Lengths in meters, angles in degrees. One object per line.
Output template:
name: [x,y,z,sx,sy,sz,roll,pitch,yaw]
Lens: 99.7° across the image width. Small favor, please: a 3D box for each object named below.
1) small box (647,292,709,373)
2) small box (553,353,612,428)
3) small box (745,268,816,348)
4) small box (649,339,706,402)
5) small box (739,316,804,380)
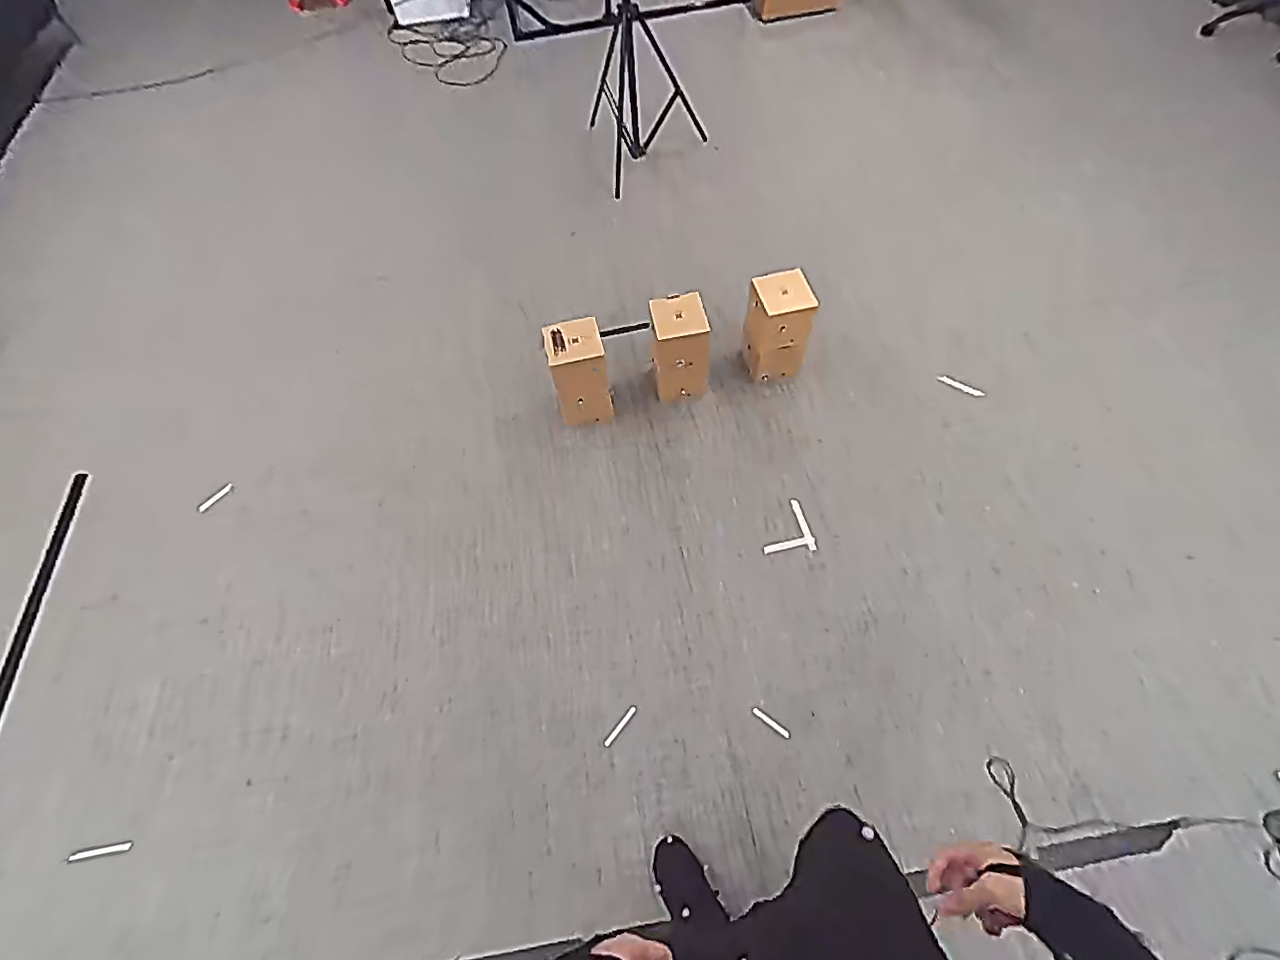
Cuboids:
small box: [0.119,-0.472,1.739,0.168,0.176,0.179,-11,61,-1]
small box: [-0.197,-0.306,1.861,0.168,0.176,0.179,-12,61,-2]
small box: [0.452,-0.551,1.762,0.168,0.176,0.179,-13,61,-3]
small box: [0.127,-0.399,1.886,0.168,0.176,0.179,-11,62,-2]
small box: [0.458,-0.473,1.904,0.168,0.176,0.179,-13,61,-4]
